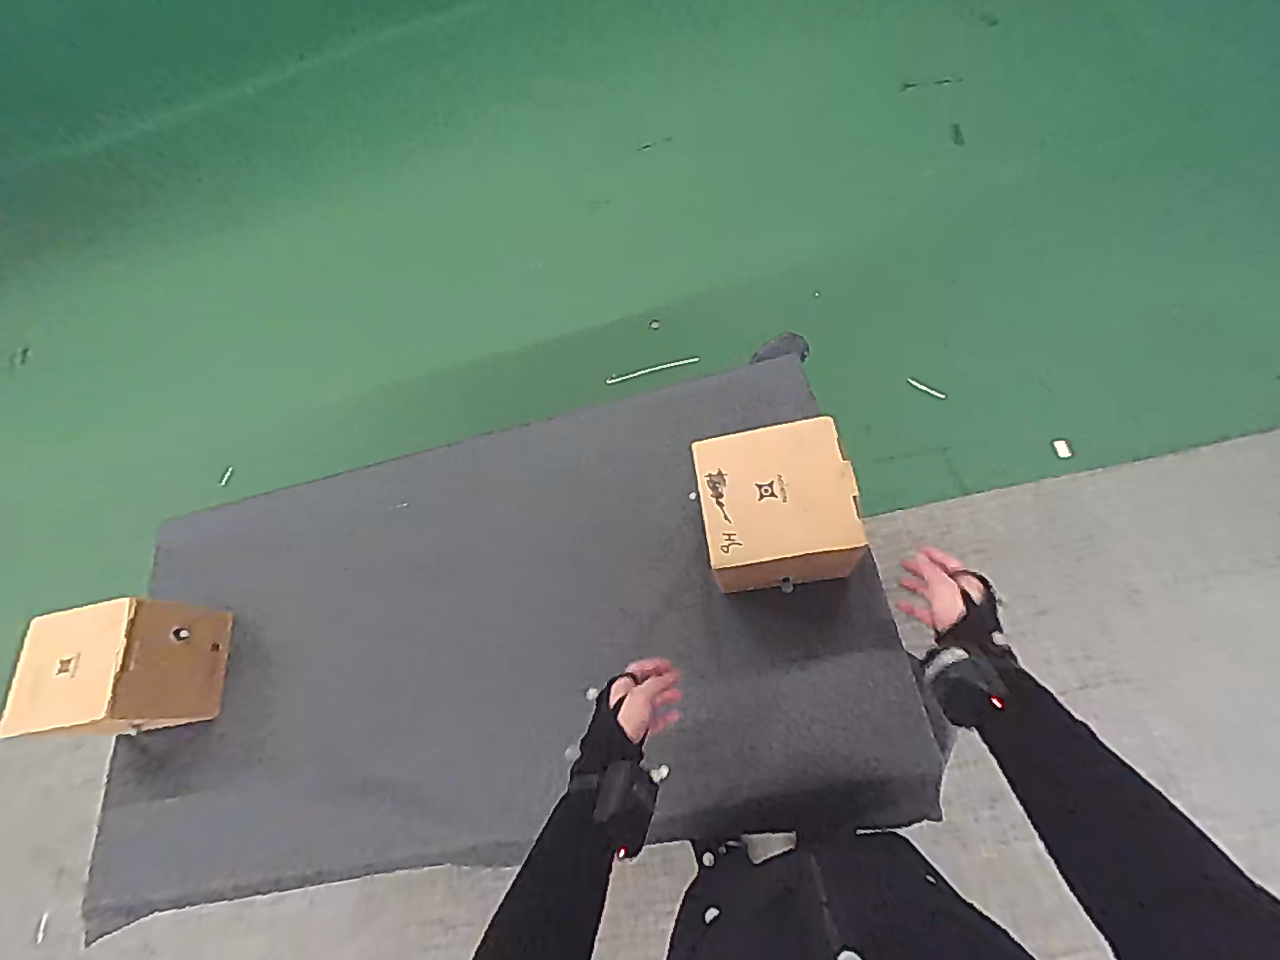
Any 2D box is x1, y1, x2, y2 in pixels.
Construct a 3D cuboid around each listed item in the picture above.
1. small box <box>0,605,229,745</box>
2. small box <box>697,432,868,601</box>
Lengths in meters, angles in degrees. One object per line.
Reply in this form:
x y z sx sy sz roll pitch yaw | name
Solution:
-0.769 0.293 0.807 0.179 0.176 0.168 -11 64 7 | small box
0.177 0.057 0.715 0.179 0.176 0.168 -10 67 8 | small box
